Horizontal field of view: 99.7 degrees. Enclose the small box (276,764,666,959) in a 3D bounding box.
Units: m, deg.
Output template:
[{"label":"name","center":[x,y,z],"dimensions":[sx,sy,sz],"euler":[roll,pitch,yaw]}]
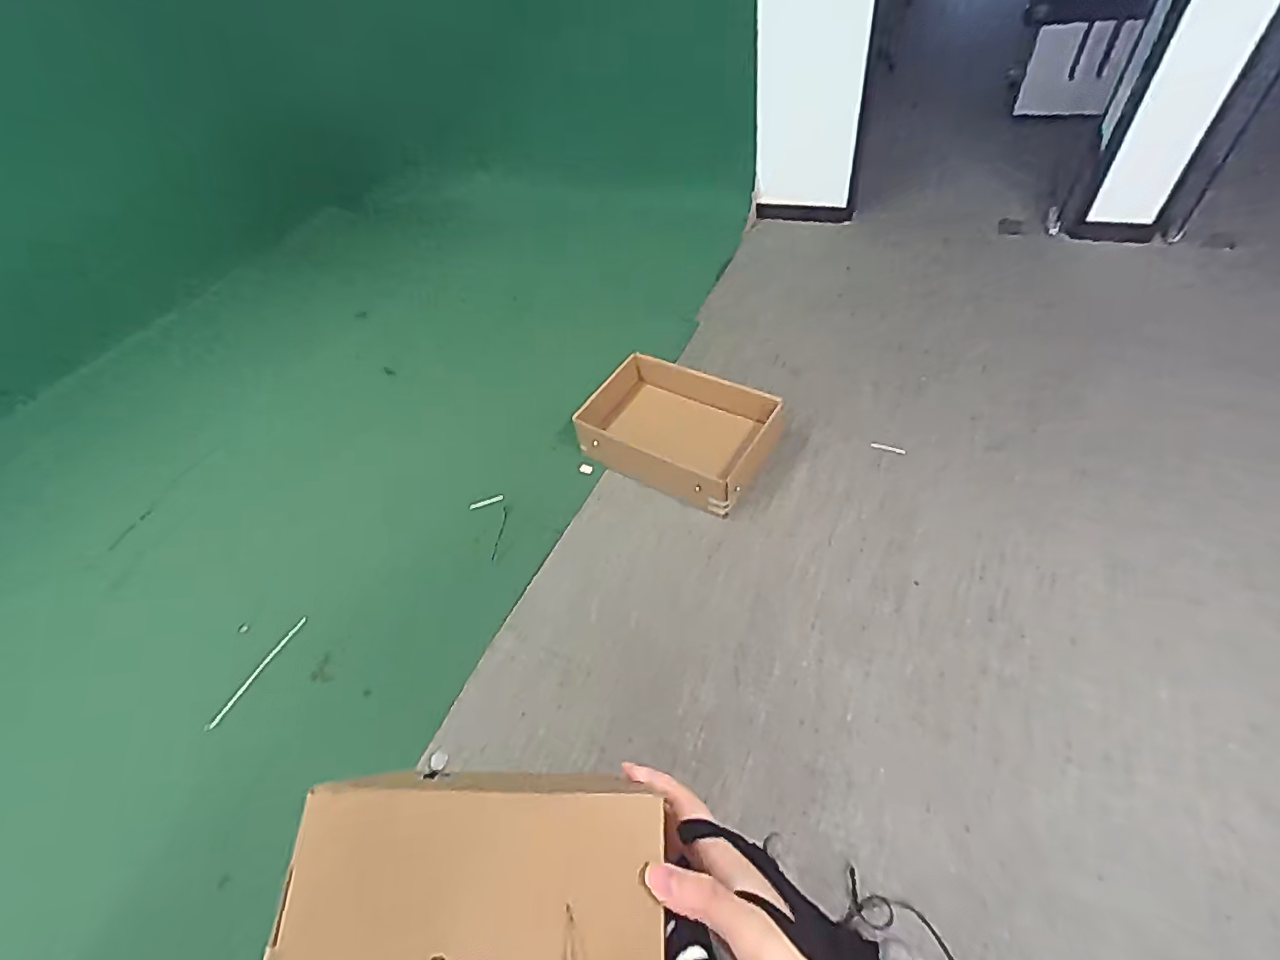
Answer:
[{"label":"small box","center":[-0.084,0.262,0.310],"dimensions":[0.179,0.176,0.168],"euler":[5,65,-6]}]
